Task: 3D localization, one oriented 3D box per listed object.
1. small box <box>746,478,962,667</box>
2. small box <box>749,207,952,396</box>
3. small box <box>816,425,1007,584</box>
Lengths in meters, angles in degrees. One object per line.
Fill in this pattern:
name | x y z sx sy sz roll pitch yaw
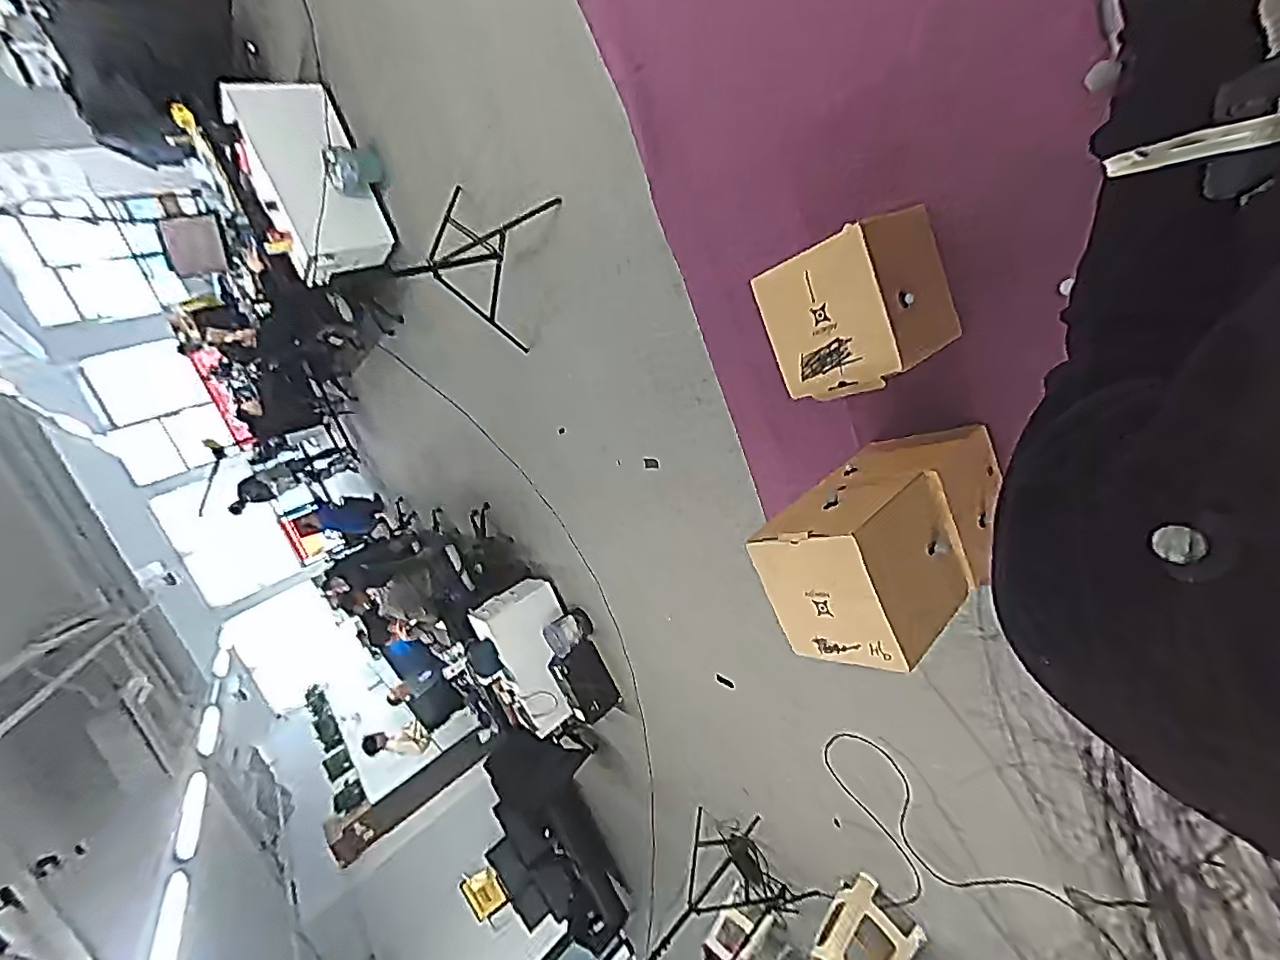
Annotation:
small box | 0.274 0.107 0.694 0.168 0.176 0.179 -14 102 56
small box | 0.284 -0.234 0.721 0.168 0.176 0.179 -9 106 55
small box | 0.395 0.033 0.777 0.179 0.176 0.168 -11 106 56
